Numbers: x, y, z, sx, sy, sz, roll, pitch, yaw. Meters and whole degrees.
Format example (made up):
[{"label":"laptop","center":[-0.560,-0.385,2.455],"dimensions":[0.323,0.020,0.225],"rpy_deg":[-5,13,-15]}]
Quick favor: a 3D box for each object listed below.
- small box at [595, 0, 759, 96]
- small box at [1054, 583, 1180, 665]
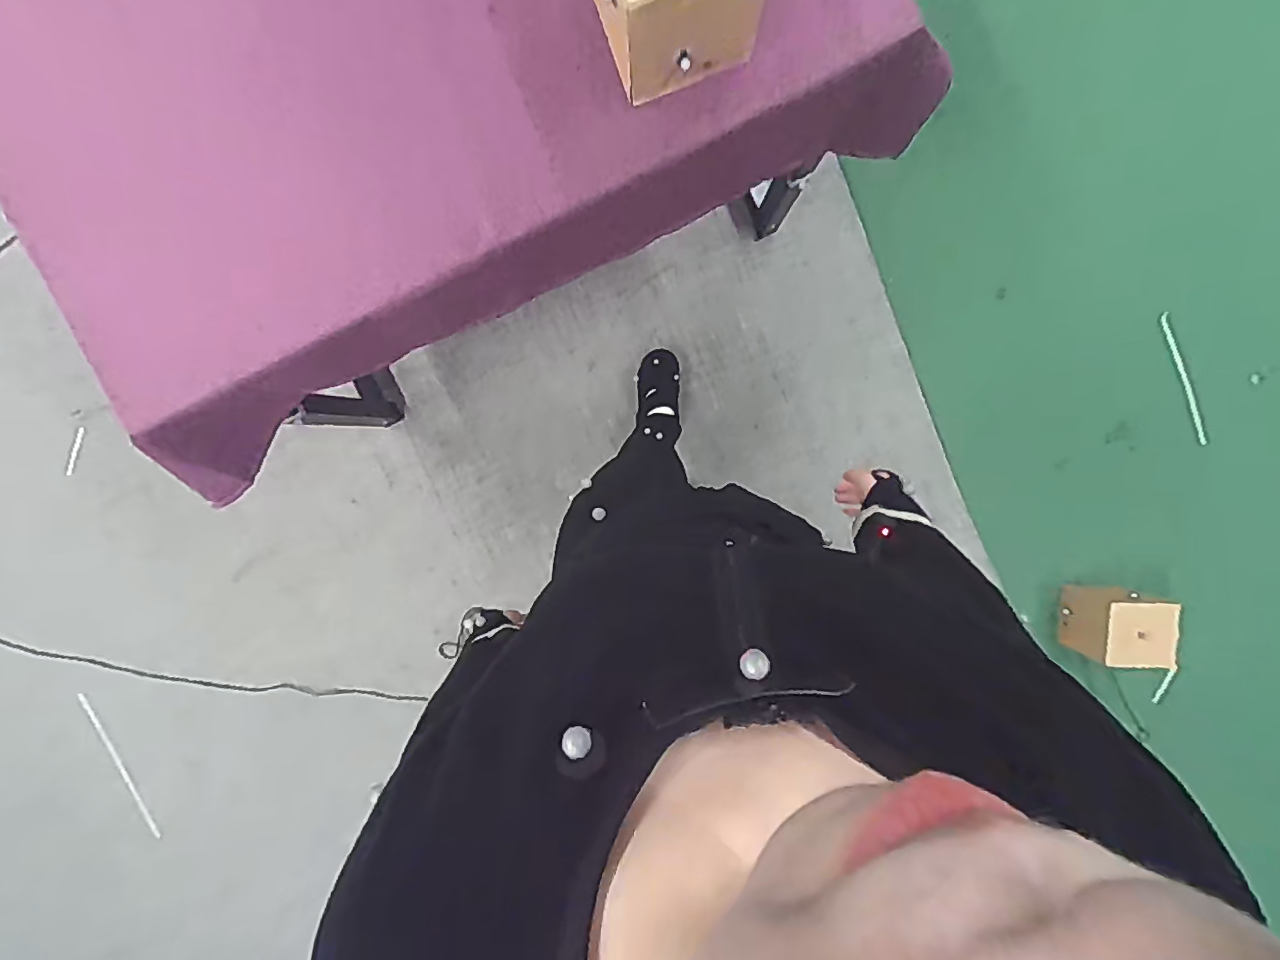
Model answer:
[{"label":"small box","center":[0.033,-0.602,0.624],"dimensions":[0.168,0.176,0.179],"rpy_deg":[-21,95,3]},{"label":"small box","center":[1.245,0.372,1.422],"dimensions":[0.179,0.176,0.168],"rpy_deg":[2,94,0]}]
